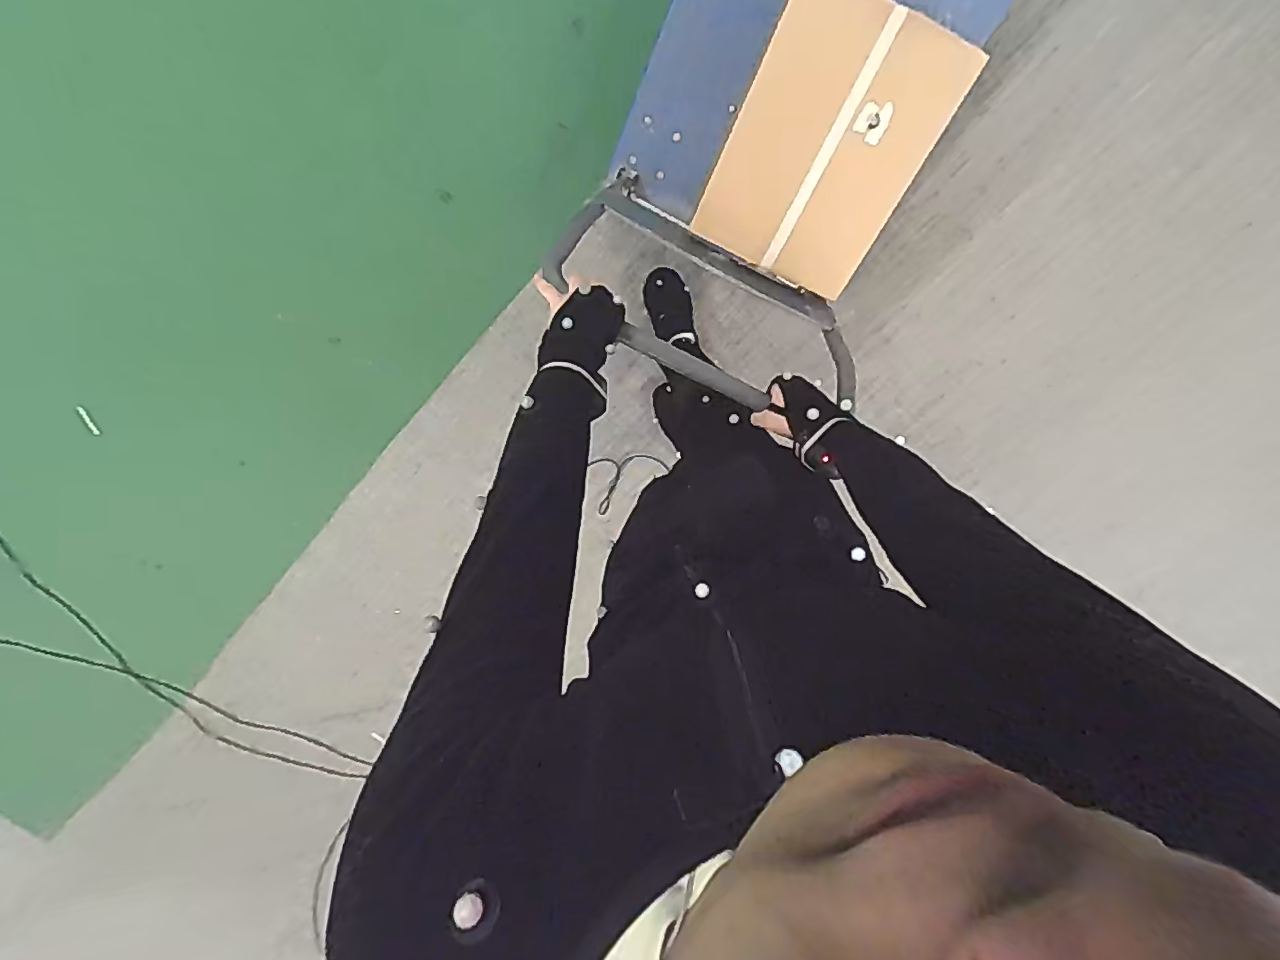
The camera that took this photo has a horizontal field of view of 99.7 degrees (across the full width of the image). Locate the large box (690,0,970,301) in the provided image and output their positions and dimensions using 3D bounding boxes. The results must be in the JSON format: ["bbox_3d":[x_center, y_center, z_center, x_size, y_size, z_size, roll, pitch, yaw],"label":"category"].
[{"bbox_3d":[0.321,-0.628,1.053,0.320,0.320,0.408,23,122,-8],"label":"large box"}]
